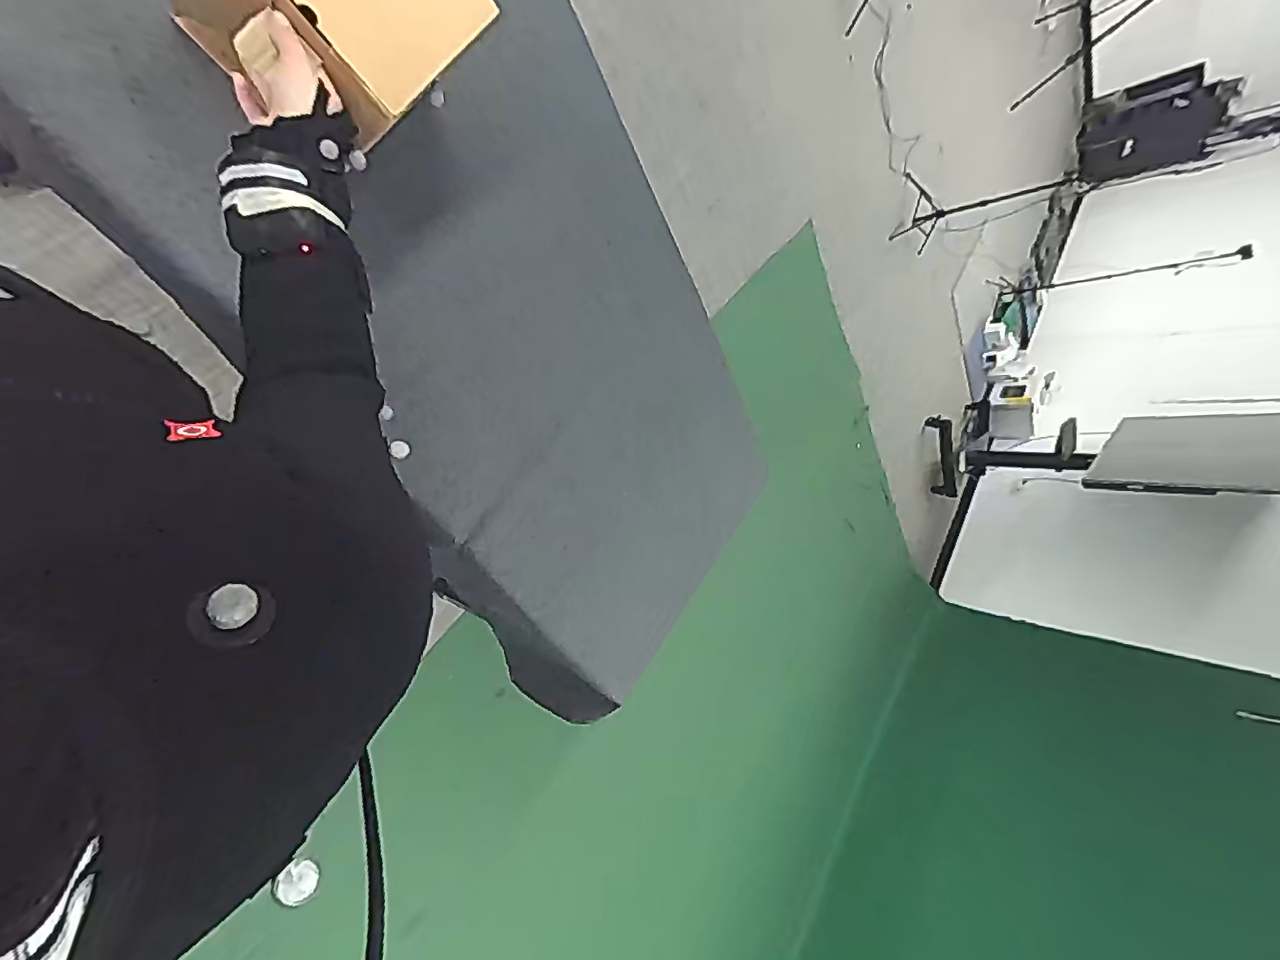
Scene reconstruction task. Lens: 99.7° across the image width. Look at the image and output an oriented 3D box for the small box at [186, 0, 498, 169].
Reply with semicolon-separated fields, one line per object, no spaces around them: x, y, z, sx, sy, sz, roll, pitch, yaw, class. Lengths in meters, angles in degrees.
-0.275;-0.434;0.502;0.168;0.176;0.179;44;65;-40;small box
